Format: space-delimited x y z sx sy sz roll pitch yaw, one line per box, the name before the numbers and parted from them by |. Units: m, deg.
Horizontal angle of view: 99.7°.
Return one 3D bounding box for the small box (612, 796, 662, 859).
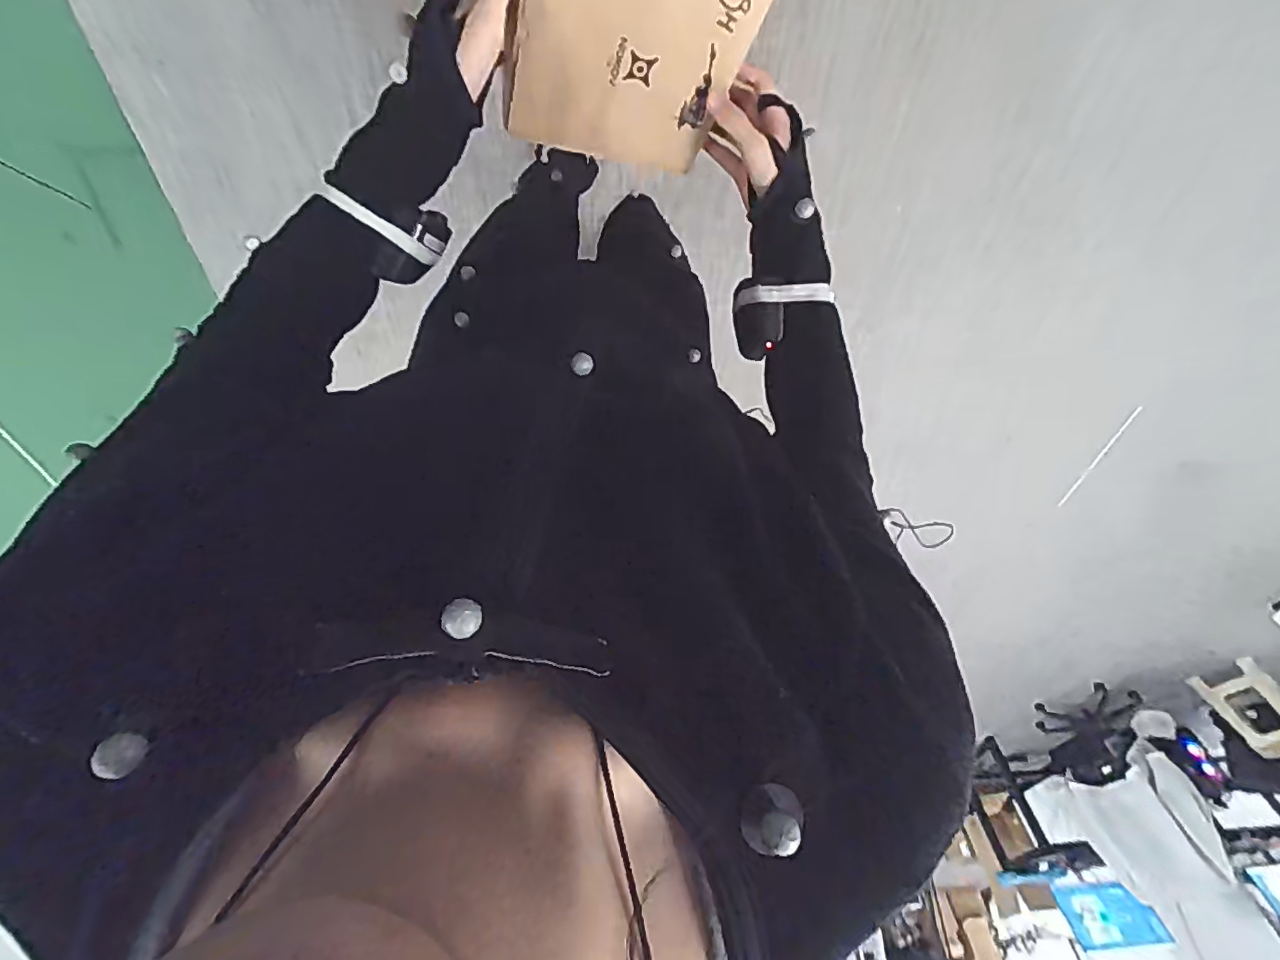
small box | -0.013 1.335 2.079 0.168 0.176 0.179 -10 135 4
